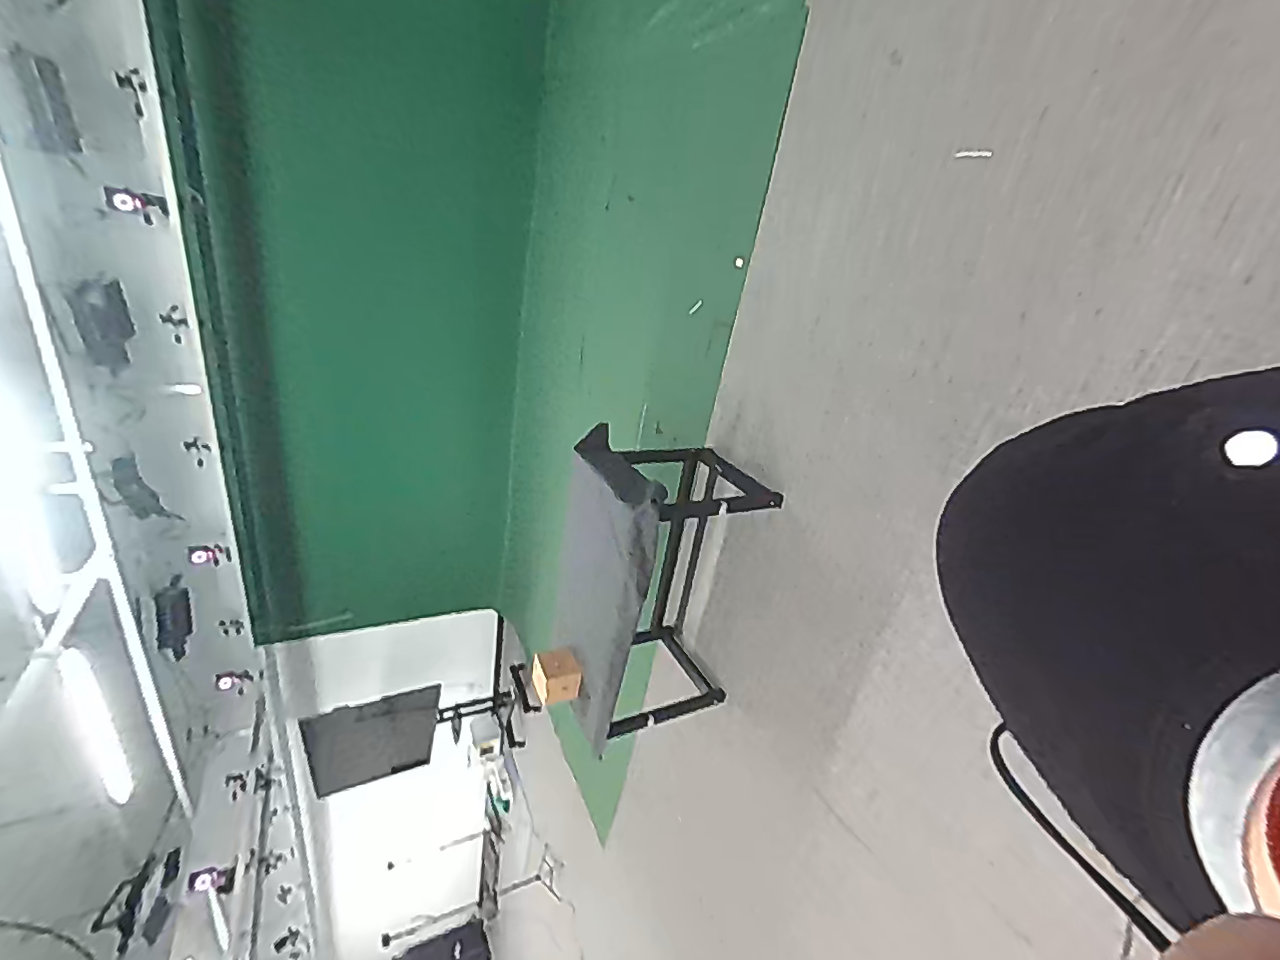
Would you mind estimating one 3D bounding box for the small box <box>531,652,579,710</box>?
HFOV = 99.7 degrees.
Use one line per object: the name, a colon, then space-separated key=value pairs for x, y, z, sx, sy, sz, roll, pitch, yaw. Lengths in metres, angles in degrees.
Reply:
small box: x=-0.392 y=0.923 z=2.502 sx=0.179 sy=0.176 sz=0.168 roll=45 pitch=130 yaw=50
